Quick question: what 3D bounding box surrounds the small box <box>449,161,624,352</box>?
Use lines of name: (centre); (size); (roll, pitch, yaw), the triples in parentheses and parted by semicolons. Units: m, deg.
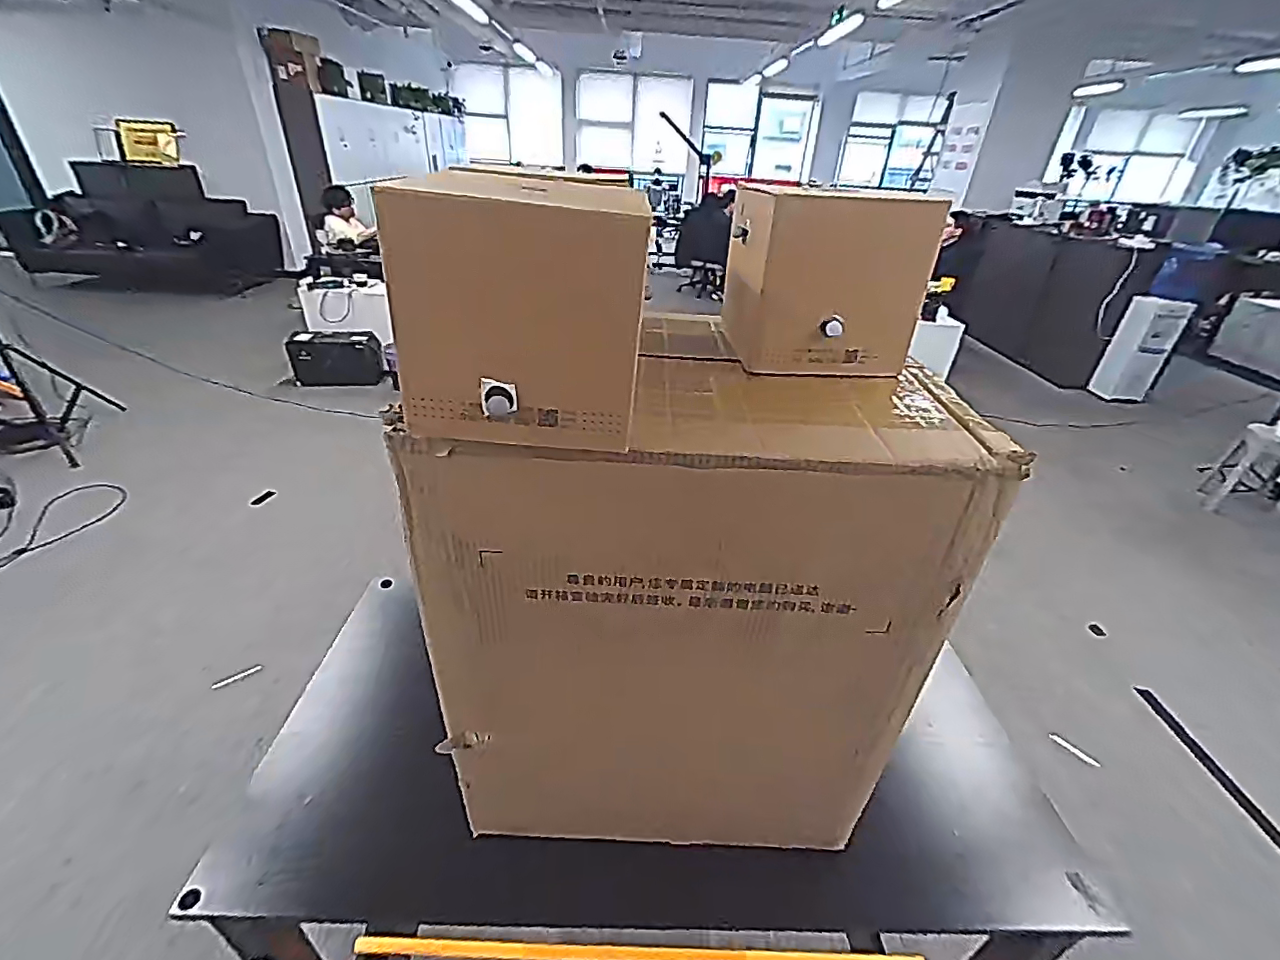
small box: (-0.105, -0.255, 0.612); (0.168, 0.176, 0.179); (2, 30, -4)

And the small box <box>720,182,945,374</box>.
small box: (0.188, -0.226, 0.594); (0.168, 0.176, 0.179); (0, 30, -3)
